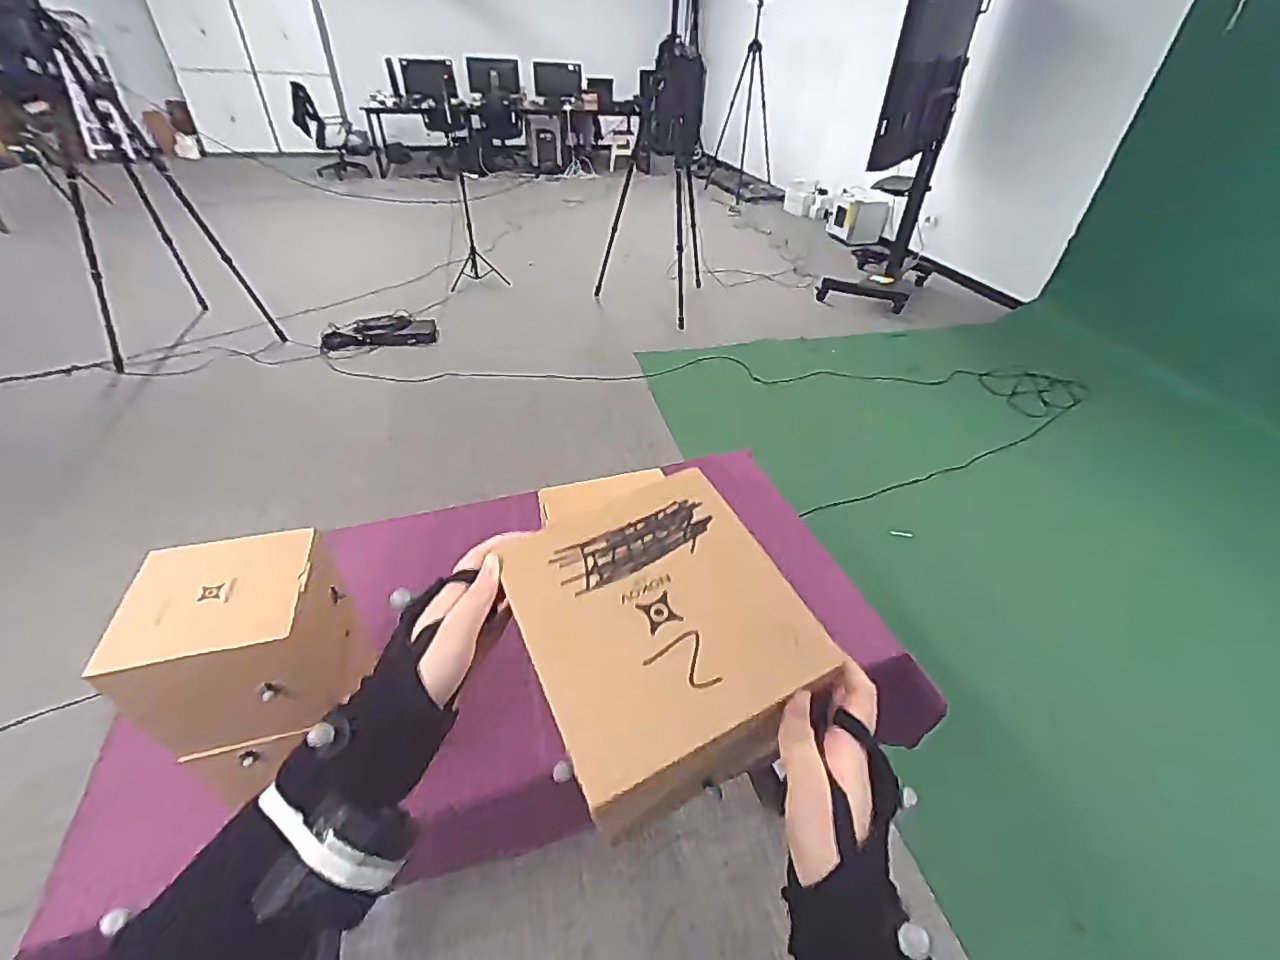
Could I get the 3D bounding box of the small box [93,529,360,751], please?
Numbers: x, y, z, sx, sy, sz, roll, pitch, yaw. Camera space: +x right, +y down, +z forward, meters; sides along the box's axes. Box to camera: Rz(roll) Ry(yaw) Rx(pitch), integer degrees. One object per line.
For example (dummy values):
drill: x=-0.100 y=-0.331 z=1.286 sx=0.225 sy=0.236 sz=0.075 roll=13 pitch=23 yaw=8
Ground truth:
small box: x=-0.448 y=0.184 z=0.630 sx=0.179 sy=0.176 sz=0.168 roll=-9 pitch=40 yaw=-12

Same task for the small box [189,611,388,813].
small box: x=-0.453 y=0.310 z=0.735 sx=0.168 sy=0.176 sz=0.179 roll=-10 pitch=40 yaw=-13

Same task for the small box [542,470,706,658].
small box: x=-0.028 y=0.113 z=0.736 sx=0.179 sy=0.176 sz=0.168 roll=-11 pitch=42 yaw=-14
